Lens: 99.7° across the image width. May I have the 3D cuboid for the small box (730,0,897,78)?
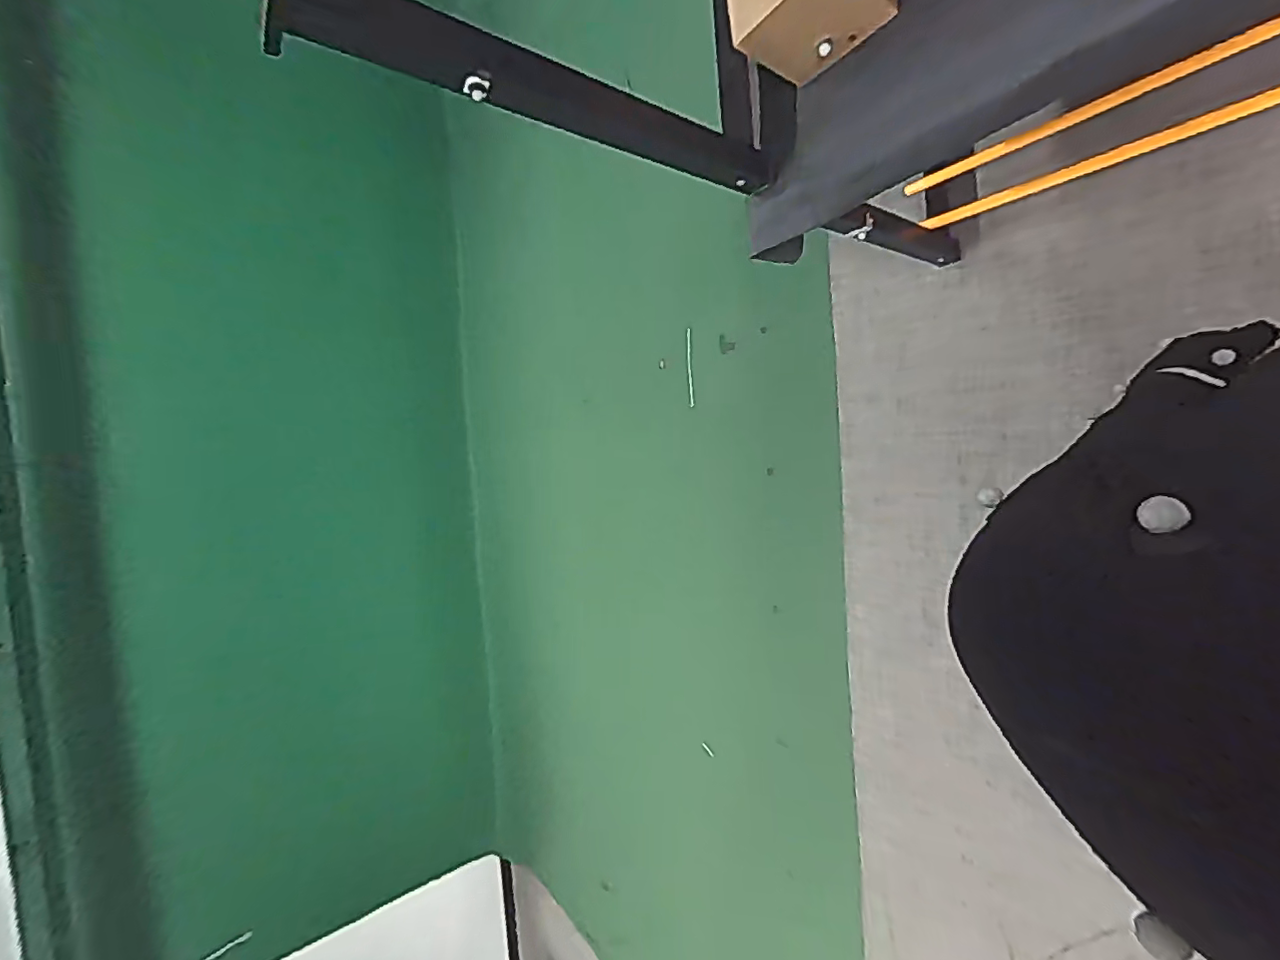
[{"bbox_3d":[0.243,-0.734,0.774,0.168,0.176,0.179,-6,90,53],"label":"small box"}]
